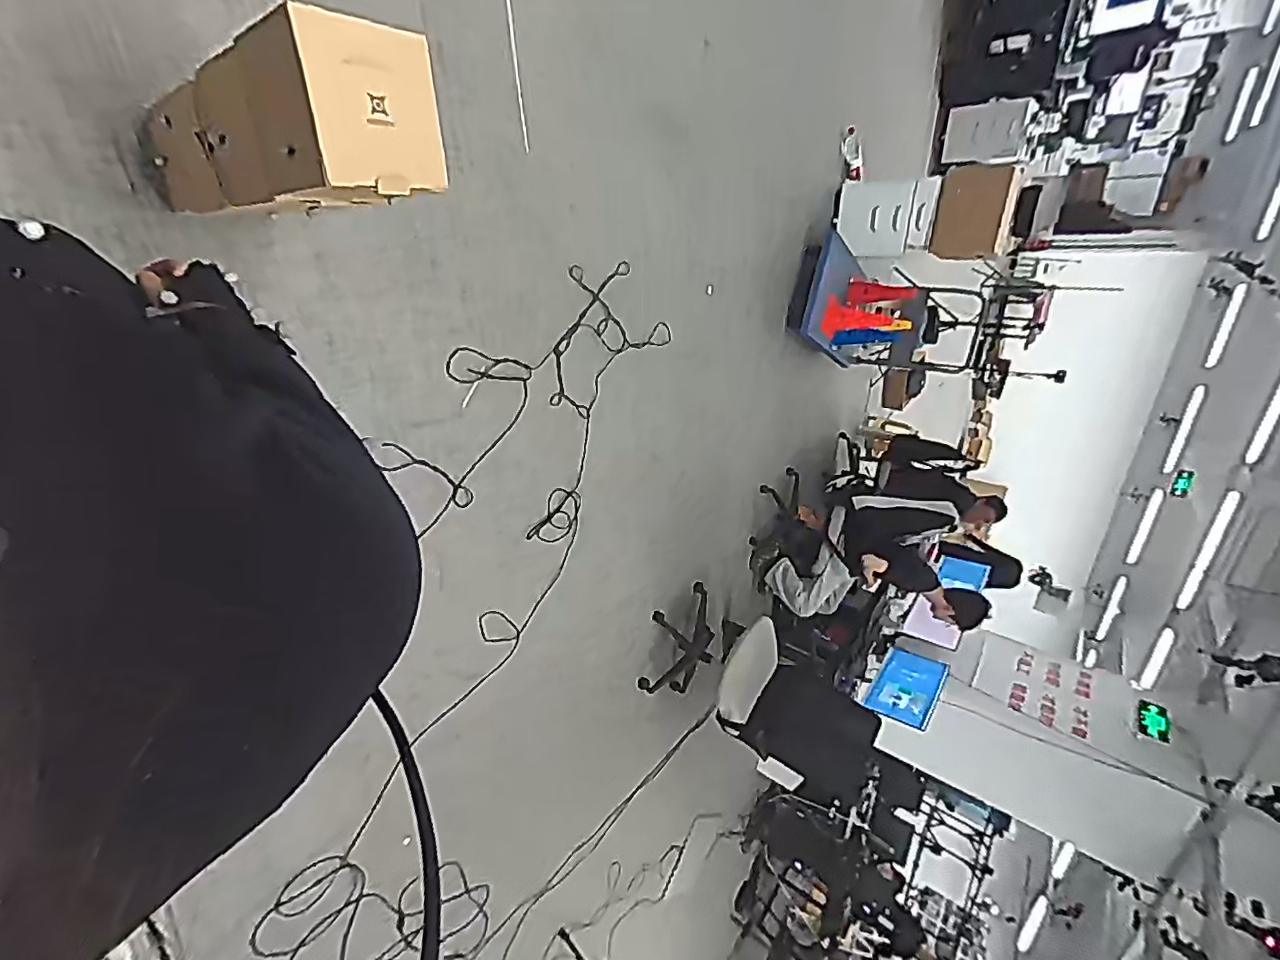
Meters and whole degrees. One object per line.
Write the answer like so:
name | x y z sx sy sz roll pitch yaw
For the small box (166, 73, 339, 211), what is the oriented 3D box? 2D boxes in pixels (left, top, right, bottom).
small box | -0.638 -0.541 0.891 0.179 0.176 0.168 -31 127 -44

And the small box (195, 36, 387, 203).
small box | -0.507 -0.509 0.795 0.168 0.176 0.179 -29 127 -46

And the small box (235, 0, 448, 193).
small box | -0.380 -0.476 0.700 0.168 0.176 0.179 -30 125 -44

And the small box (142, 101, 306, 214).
small box | -0.757 -0.587 0.992 0.179 0.176 0.168 -28 124 -46
